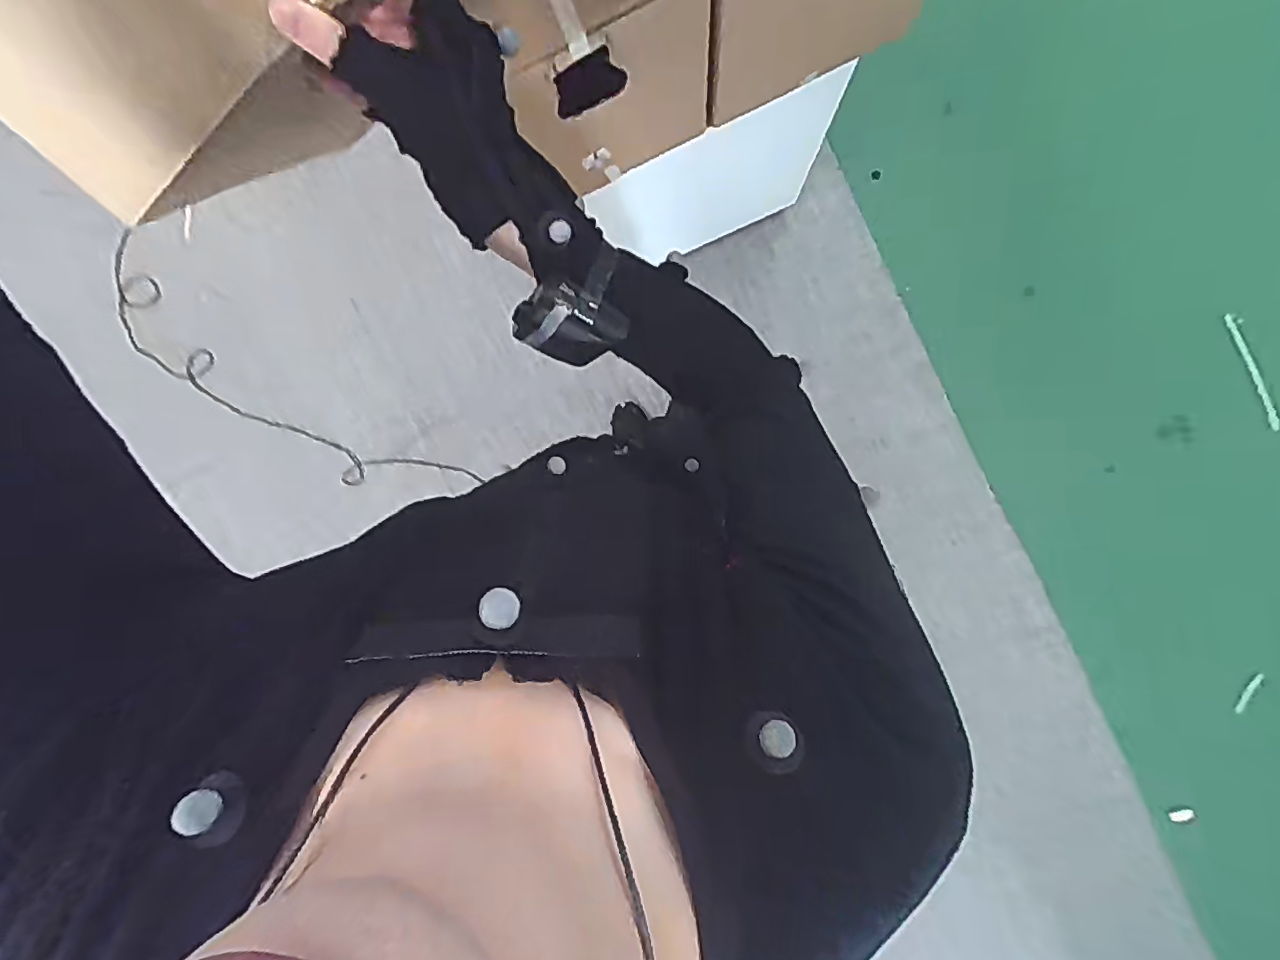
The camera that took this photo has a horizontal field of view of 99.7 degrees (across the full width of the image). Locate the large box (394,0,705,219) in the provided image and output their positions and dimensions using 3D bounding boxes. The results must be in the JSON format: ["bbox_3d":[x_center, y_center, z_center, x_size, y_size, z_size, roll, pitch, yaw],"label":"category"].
[{"bbox_3d":[-0.132,-0.647,0.709,0.320,0.320,0.408,-23,92,8],"label":"large box"}]
